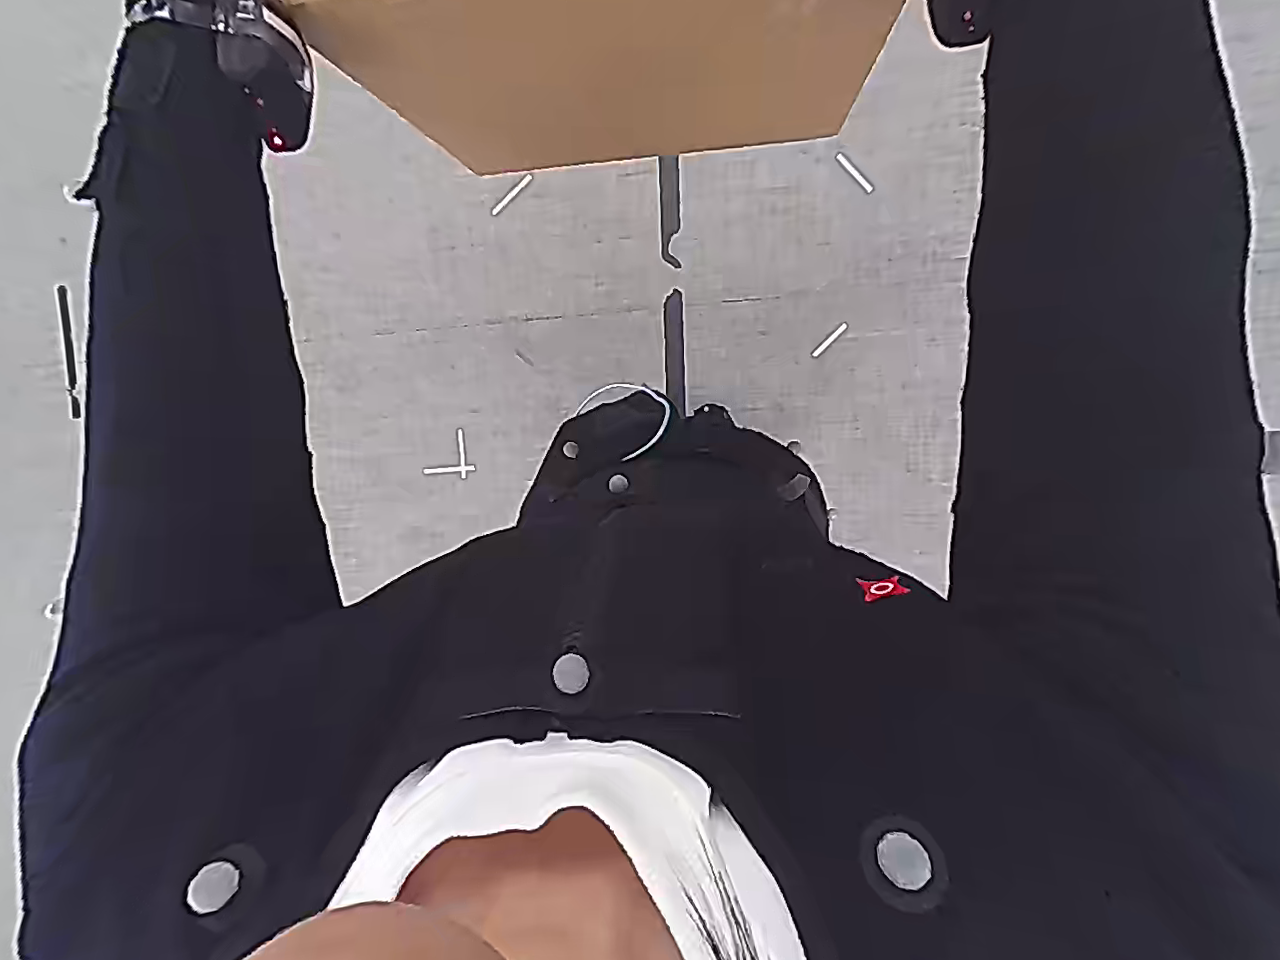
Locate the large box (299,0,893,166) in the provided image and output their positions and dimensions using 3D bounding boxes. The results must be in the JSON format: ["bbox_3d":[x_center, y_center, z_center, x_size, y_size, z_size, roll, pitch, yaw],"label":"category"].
[{"bbox_3d":[-0.018,-0.487,0.424,0.408,0.320,0.320,-2,102,8],"label":"large box"}]
